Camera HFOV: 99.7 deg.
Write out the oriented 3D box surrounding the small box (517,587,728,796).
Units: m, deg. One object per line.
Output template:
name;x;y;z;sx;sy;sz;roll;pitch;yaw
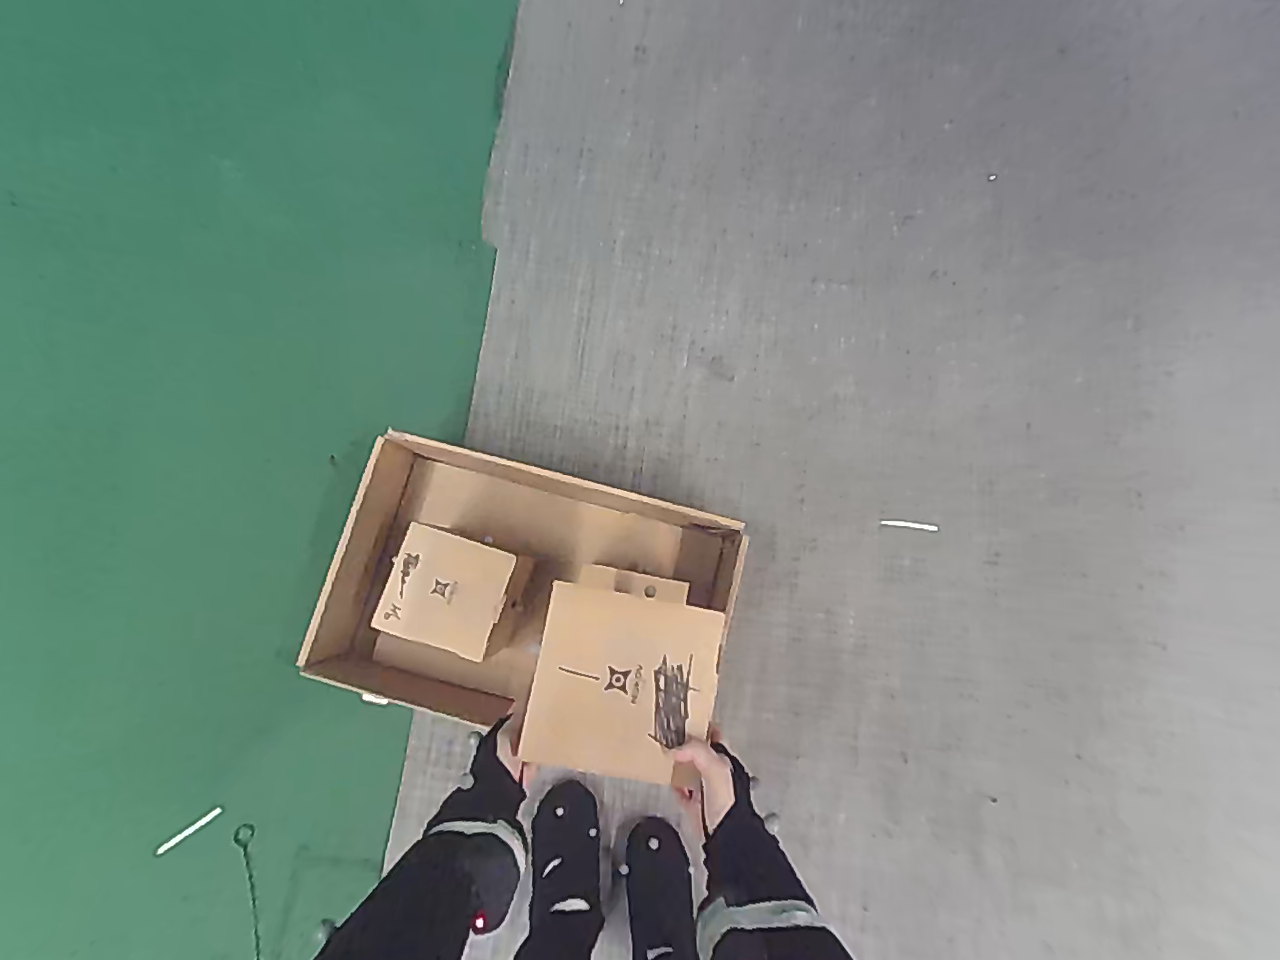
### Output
small box;-0.019;0.215;0.592;0.179;0.176;0.168;12;77;-2
